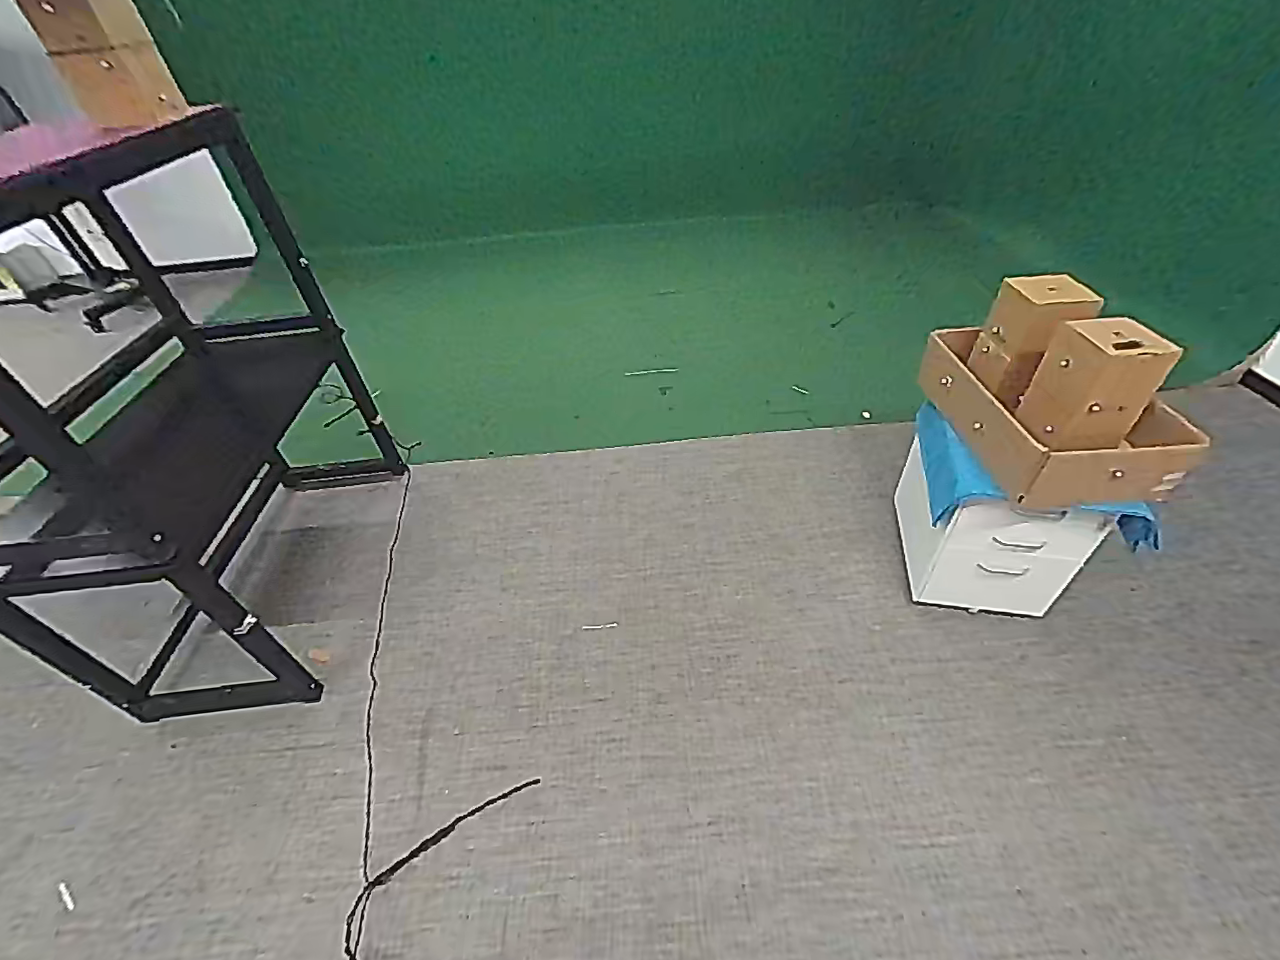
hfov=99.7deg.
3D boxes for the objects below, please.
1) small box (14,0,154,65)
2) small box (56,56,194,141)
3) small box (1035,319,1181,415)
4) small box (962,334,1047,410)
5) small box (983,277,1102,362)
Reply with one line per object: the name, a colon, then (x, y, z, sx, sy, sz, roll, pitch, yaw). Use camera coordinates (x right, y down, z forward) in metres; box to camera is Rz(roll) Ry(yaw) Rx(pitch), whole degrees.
small box: (-1.396, -1.160, 1.362, 0.168, 0.176, 0.179, -5, 43, -1)
small box: (-1.391, -1.042, 1.477, 0.179, 0.176, 0.168, -5, 42, 0)
small box: (1.109, -0.266, 1.300, 0.168, 0.176, 0.179, -4, 41, -1)
small box: (1.104, -0.322, 1.608, 0.179, 0.176, 0.168, -3, 42, 0)
small box: (1.103, -0.443, 1.498, 0.179, 0.176, 0.168, -4, 43, 0)
